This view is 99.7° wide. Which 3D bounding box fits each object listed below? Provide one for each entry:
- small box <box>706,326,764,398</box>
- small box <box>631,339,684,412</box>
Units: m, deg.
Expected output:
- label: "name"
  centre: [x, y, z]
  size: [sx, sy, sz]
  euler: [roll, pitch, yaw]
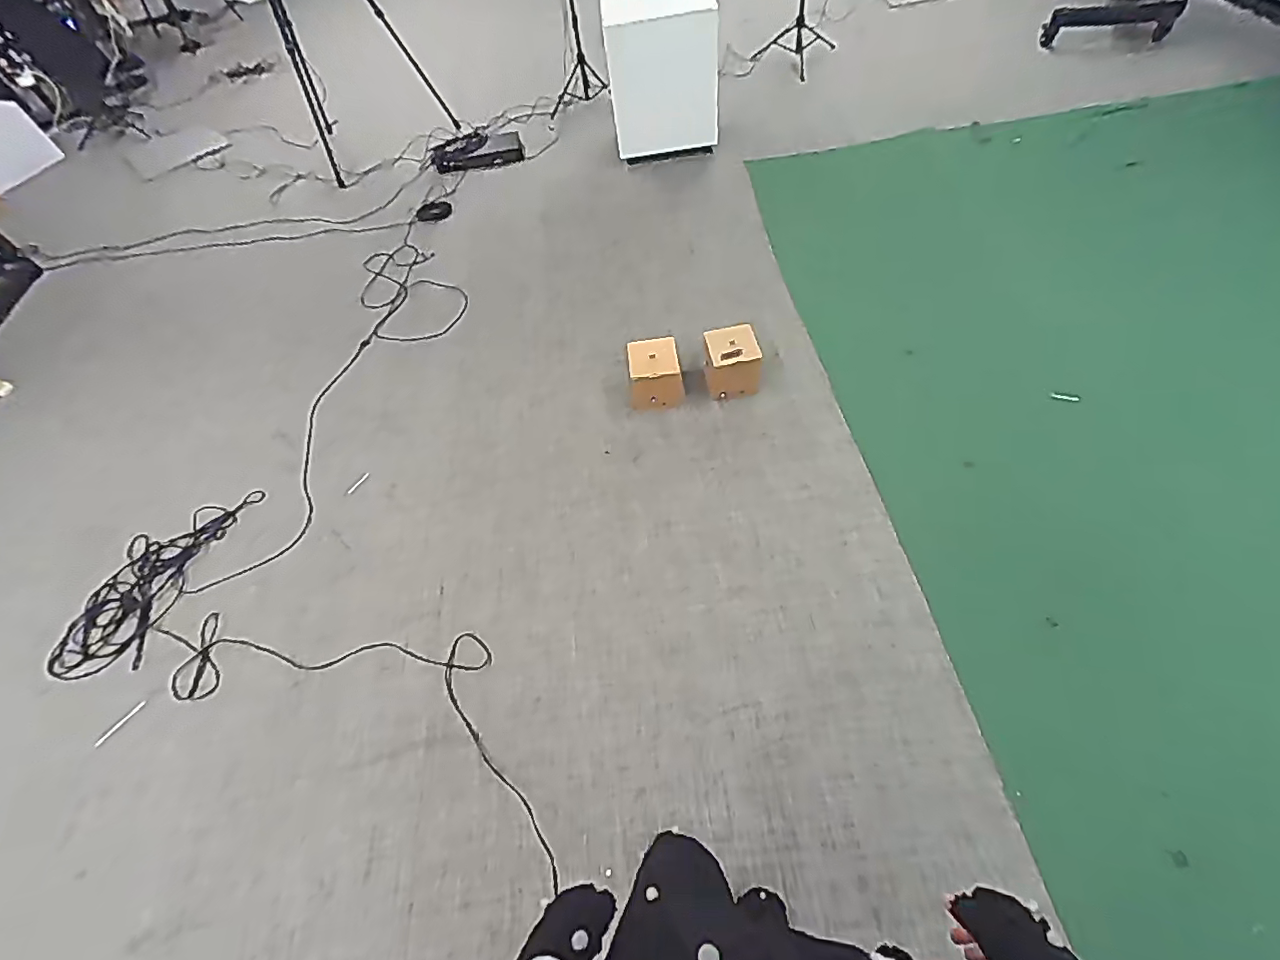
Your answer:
- label: "small box"
  centre: [0.328, -0.403, 1.879]
  size: [0.168, 0.176, 0.179]
  euler: [-10, 55, 1]
- label: "small box"
  centre: [0.062, -0.363, 1.887]
  size: [0.168, 0.176, 0.179]
  euler: [-7, 56, 2]
